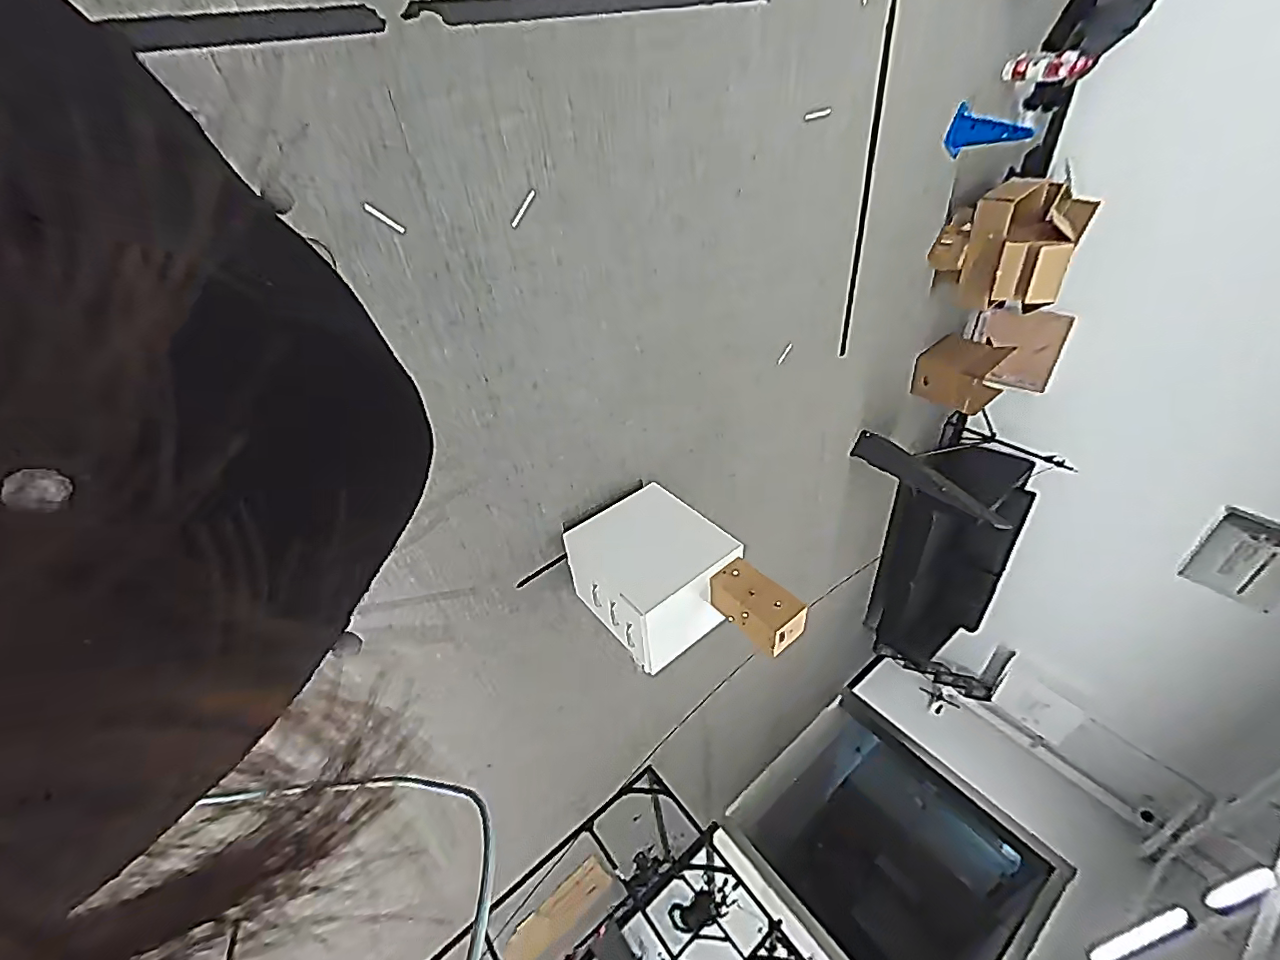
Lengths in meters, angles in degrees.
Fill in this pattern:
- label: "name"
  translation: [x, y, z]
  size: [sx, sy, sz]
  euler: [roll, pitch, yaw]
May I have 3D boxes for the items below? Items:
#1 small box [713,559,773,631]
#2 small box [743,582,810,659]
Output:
- label: "small box"
  translation: [0.399, 0.445, 2.116]
  size: [0.168, 0.176, 0.179]
  euler: [-30, 135, -25]
- label: "small box"
  translation: [0.501, 0.517, 2.007]
  size: [0.179, 0.176, 0.168]
  euler: [-30, 136, -26]
